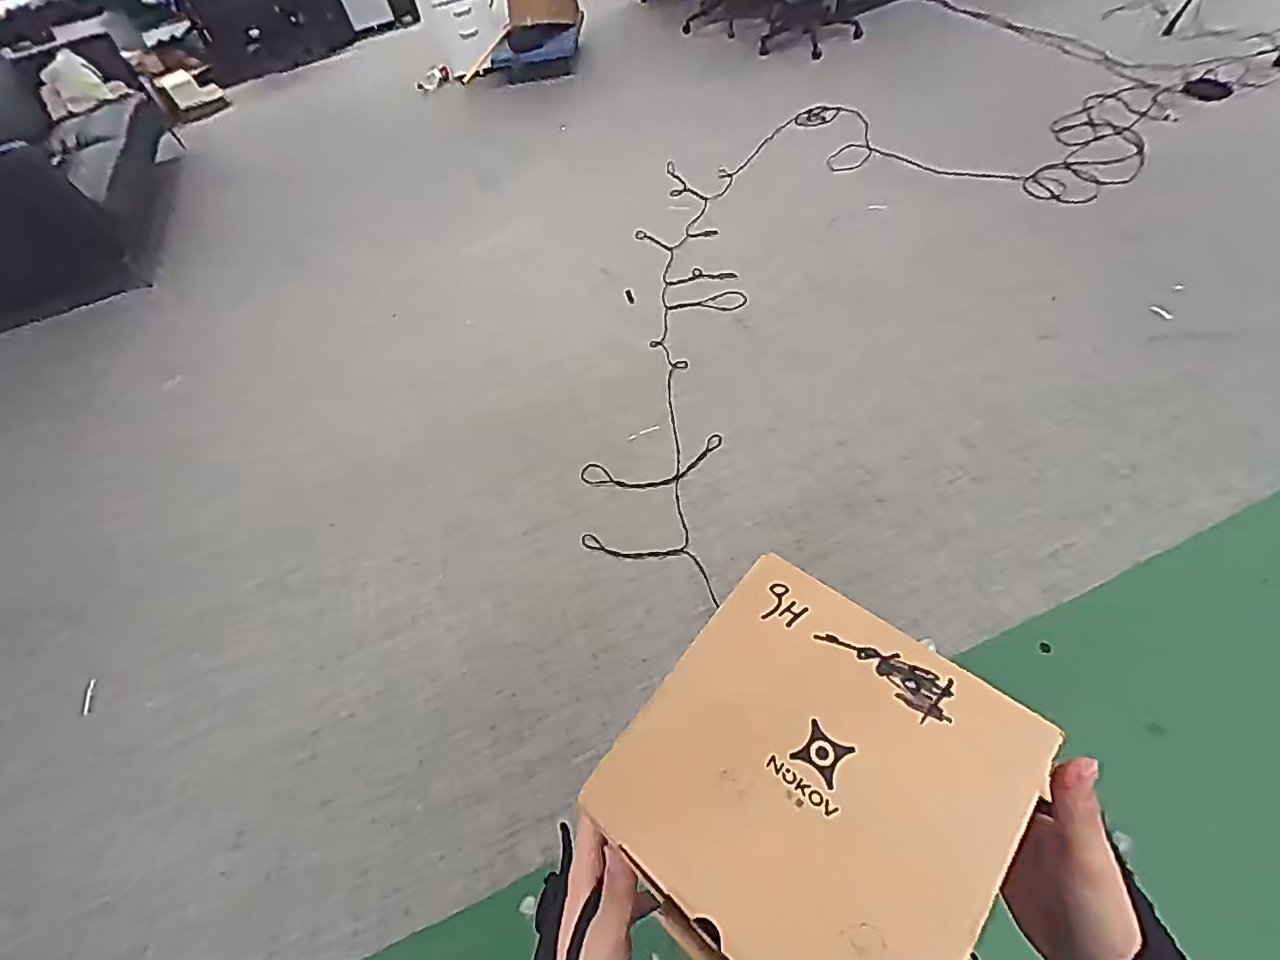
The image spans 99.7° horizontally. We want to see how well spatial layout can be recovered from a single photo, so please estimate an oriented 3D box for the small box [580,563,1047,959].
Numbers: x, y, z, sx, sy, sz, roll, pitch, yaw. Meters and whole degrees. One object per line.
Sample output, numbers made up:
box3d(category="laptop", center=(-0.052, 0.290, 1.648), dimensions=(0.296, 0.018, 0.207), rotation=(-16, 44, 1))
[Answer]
box3d(category="small box", center=(0.096, 0.191, 0.333), dimensions=(0.168, 0.176, 0.179), rotation=(32, 67, 28))
